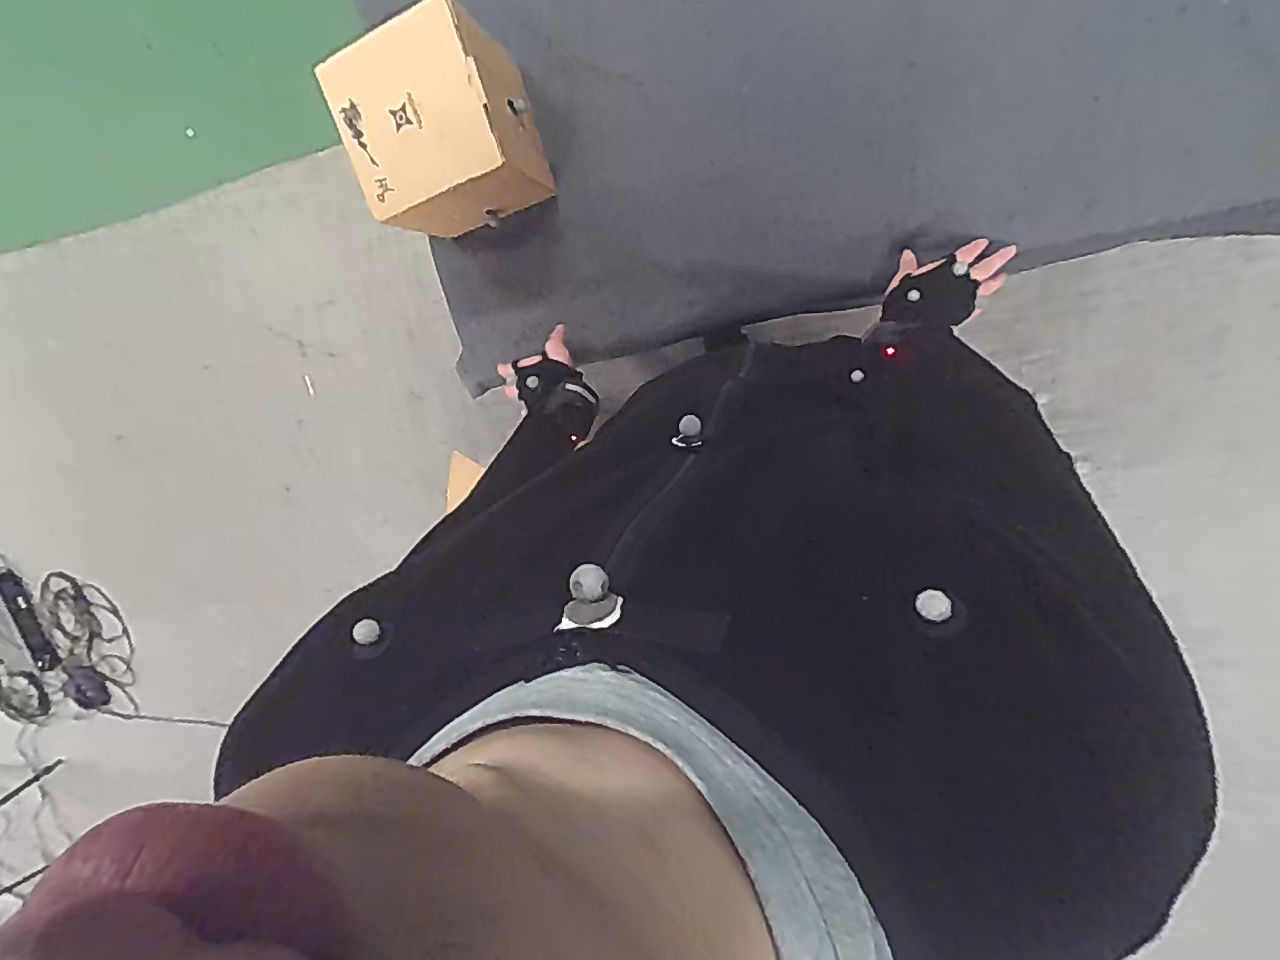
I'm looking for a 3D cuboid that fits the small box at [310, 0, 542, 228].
[{"bbox_3d":[-0.233,-0.421,0.645,0.179,0.176,0.168,-14,104,15],"label":"small box"}]
